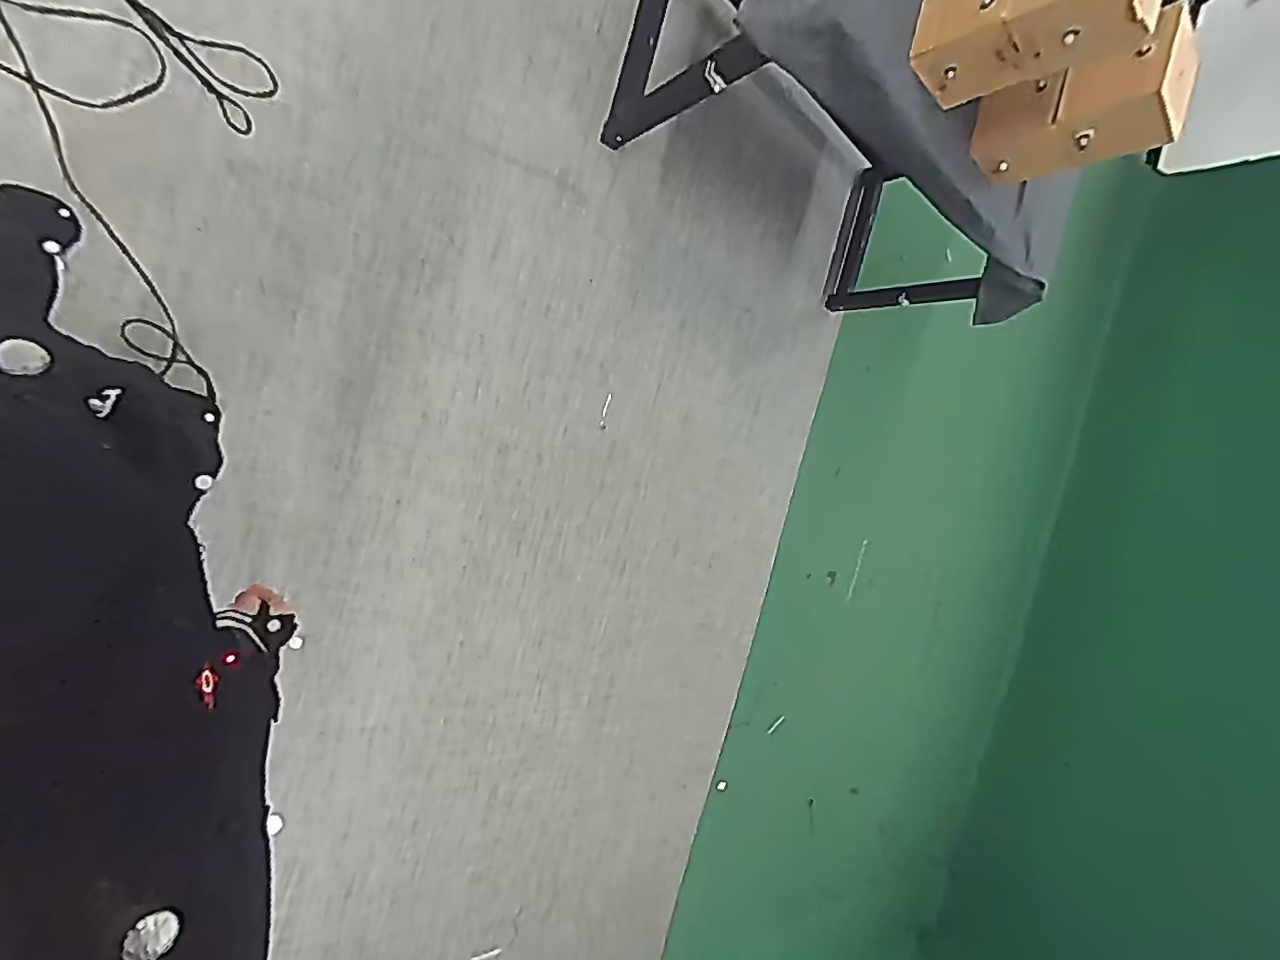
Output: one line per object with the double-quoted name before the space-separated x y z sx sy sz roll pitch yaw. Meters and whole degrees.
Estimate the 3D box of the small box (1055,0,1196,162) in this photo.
"small box" 0.967 -0.783 1.083 0.168 0.176 0.179 15 91 -37

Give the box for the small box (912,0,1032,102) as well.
"small box" 0.646 -0.875 1.028 0.168 0.176 0.179 11 94 -39

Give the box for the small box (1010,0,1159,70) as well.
"small box" 0.748 -0.842 0.904 0.168 0.176 0.179 9 95 -39

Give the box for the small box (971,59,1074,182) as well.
"small box" 0.873 -0.810 1.212 0.168 0.176 0.179 13 92 -38
